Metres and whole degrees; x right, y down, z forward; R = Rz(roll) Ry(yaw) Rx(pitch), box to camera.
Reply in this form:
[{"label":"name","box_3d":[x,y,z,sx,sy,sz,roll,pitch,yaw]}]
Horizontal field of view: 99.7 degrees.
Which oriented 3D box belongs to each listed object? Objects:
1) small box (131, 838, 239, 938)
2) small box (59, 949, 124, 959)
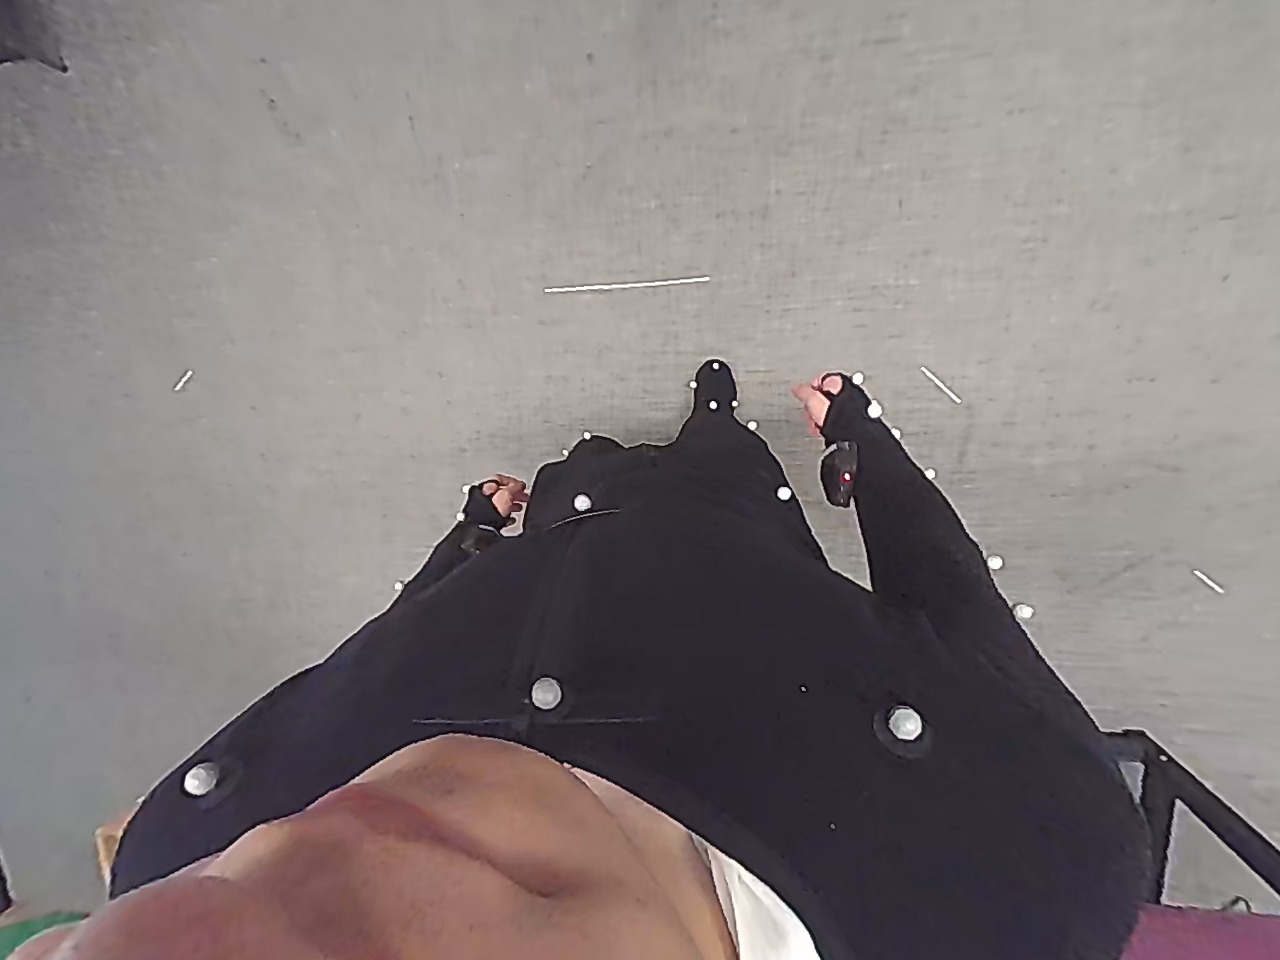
[{"label":"small box","box_3d":[-1.334,1.198,1.595,0.179,0.176,0.168,1,101,7]},{"label":"small box","box_3d":[-1.351,1.257,1.271,0.179,0.176,0.168,0,100,8]}]
